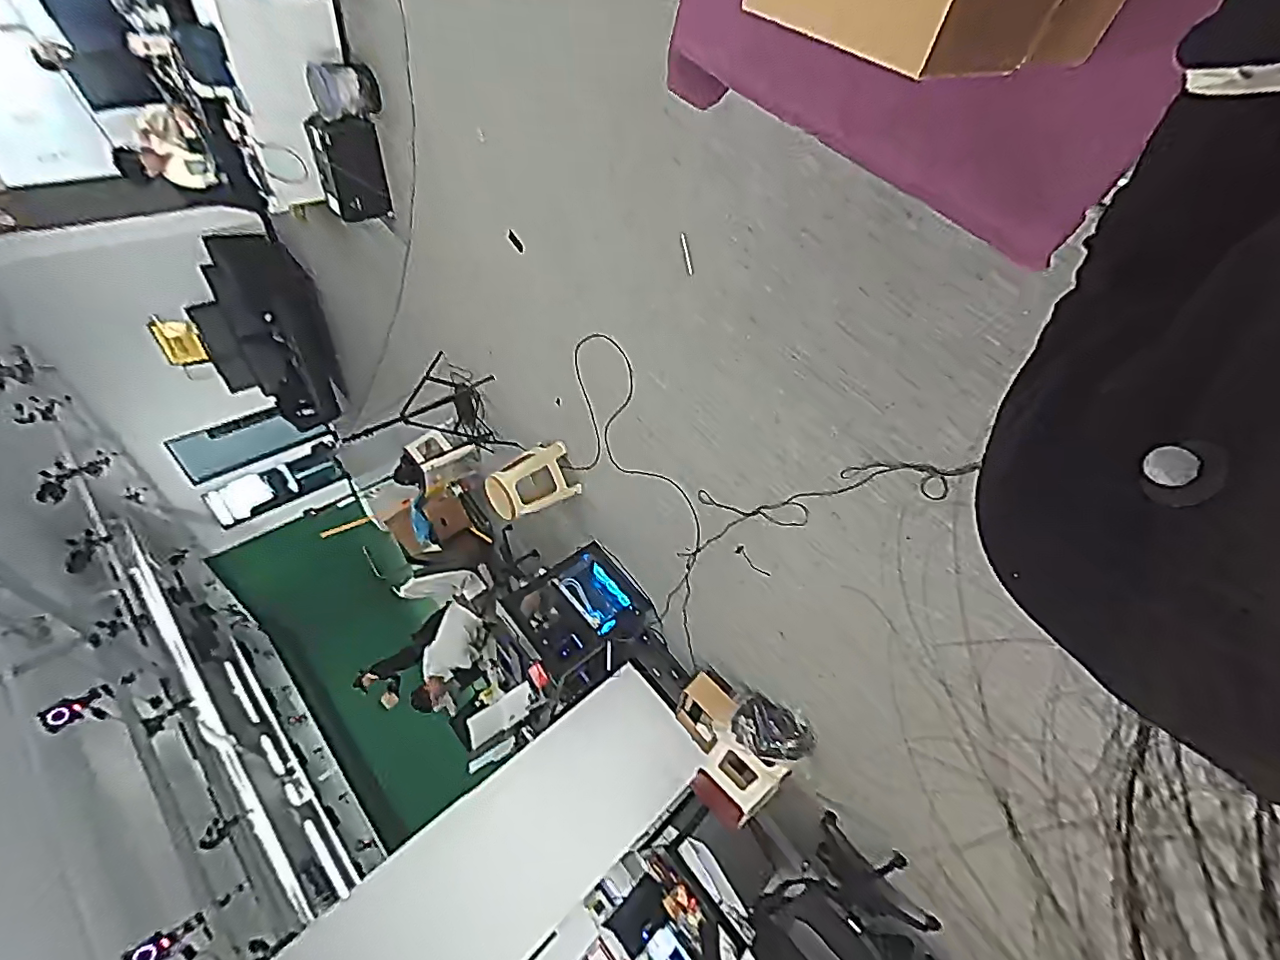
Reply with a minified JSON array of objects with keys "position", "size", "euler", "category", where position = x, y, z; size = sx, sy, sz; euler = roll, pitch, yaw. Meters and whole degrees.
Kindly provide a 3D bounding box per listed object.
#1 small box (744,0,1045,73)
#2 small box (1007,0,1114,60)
[{"position":[0.207,-0.414,0.372],"size":[0.168,0.176,0.179],"euler":[45,146,25],"category":"small box"},{"position":[0.326,-0.484,0.458],"size":[0.179,0.176,0.168],"euler":[44,145,22],"category":"small box"}]
